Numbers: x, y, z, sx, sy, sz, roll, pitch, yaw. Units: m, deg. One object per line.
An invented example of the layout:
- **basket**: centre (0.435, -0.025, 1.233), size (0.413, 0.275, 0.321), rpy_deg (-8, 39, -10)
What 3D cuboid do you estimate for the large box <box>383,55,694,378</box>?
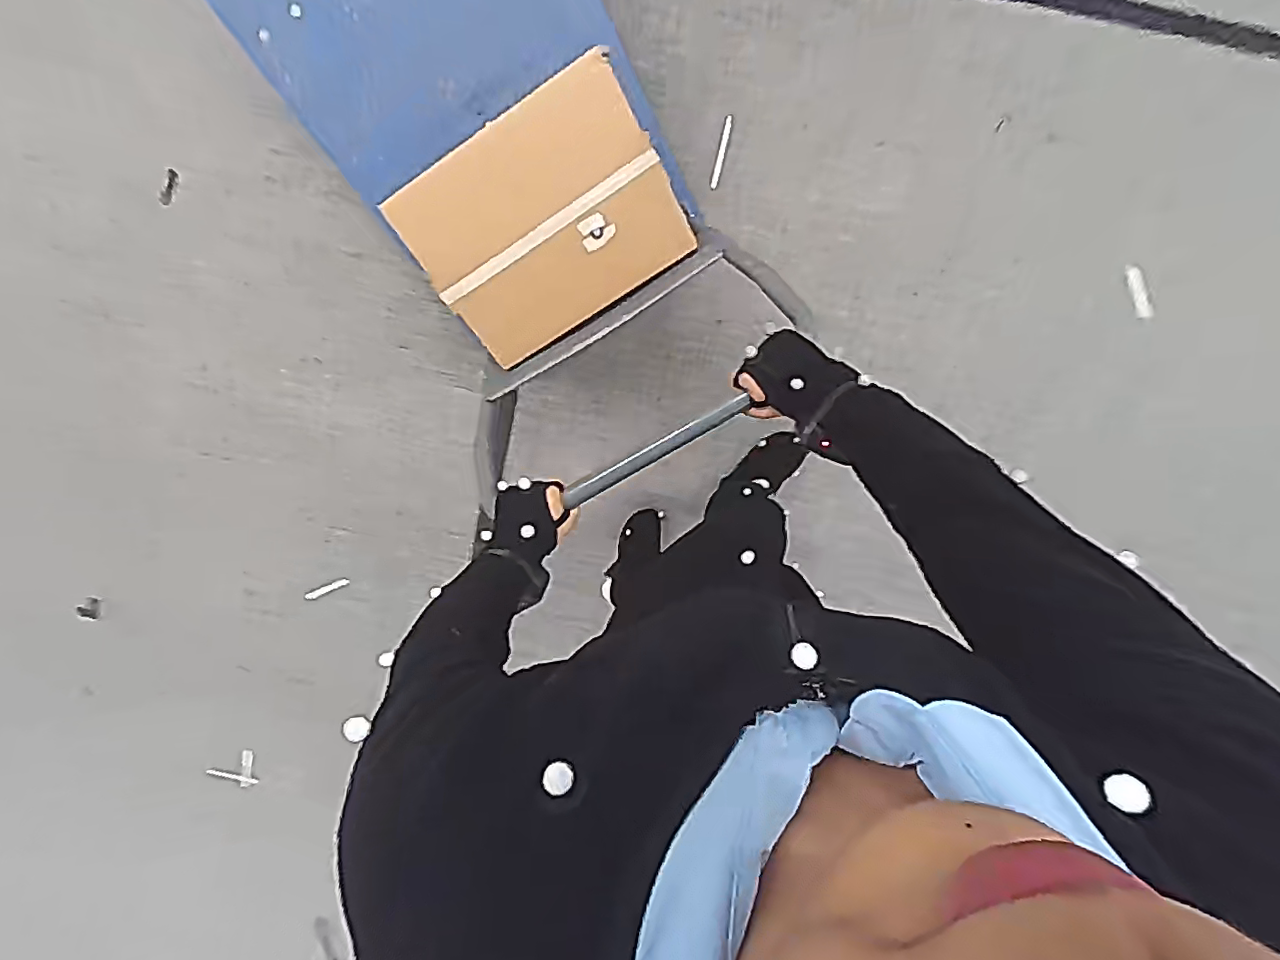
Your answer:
- **large box**: centre (-0.172, -0.459, 0.987), size (0.408, 0.320, 0.320), rpy_deg (-31, 121, 8)
